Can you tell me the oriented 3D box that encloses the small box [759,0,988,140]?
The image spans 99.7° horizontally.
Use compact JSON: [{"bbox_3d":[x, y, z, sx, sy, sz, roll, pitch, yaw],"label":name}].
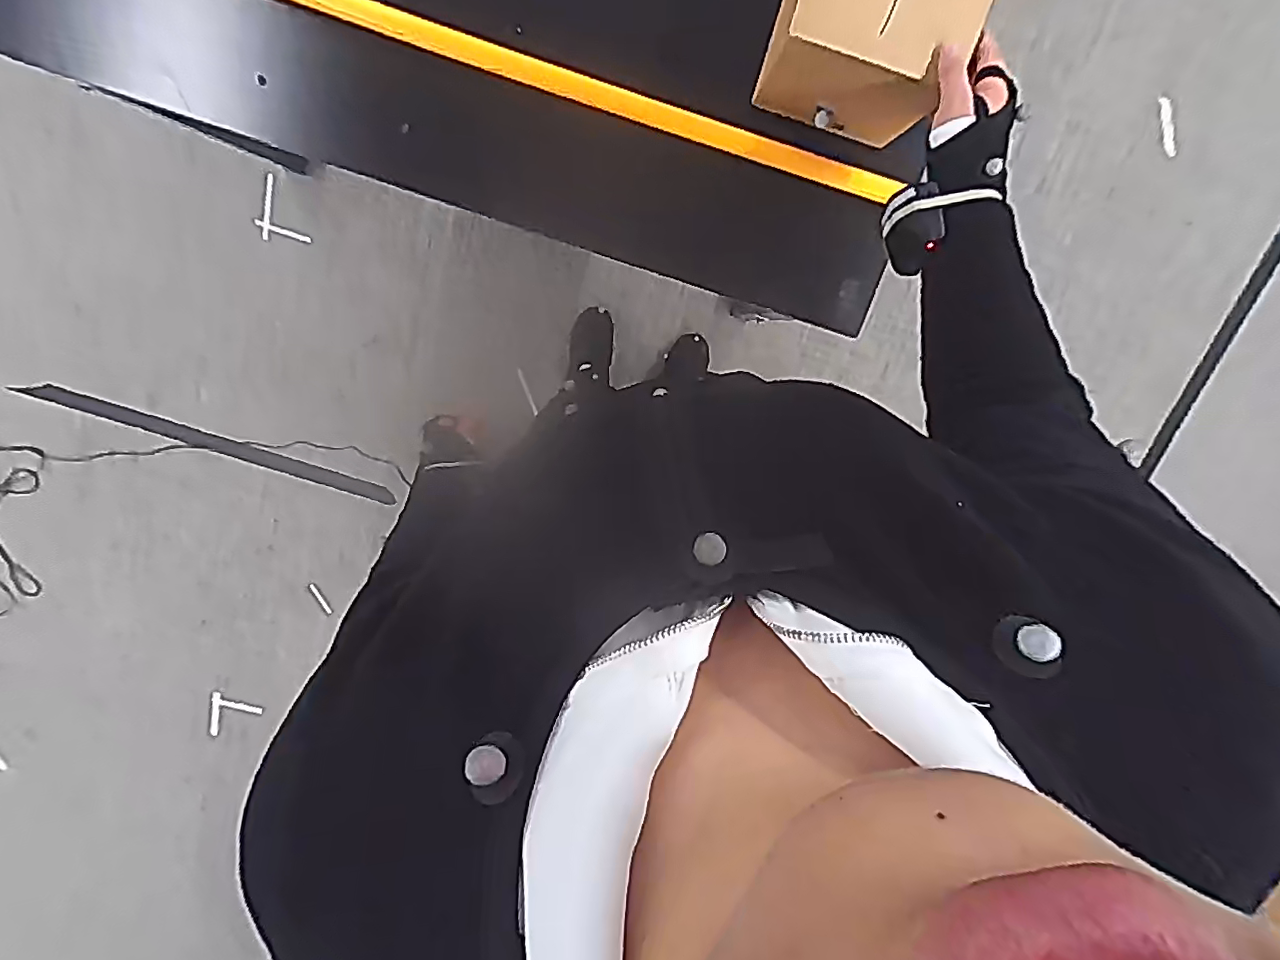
[{"bbox_3d":[0.233,-0.482,0.541,0.168,0.176,0.179,16,106,-4],"label":"small box"}]
